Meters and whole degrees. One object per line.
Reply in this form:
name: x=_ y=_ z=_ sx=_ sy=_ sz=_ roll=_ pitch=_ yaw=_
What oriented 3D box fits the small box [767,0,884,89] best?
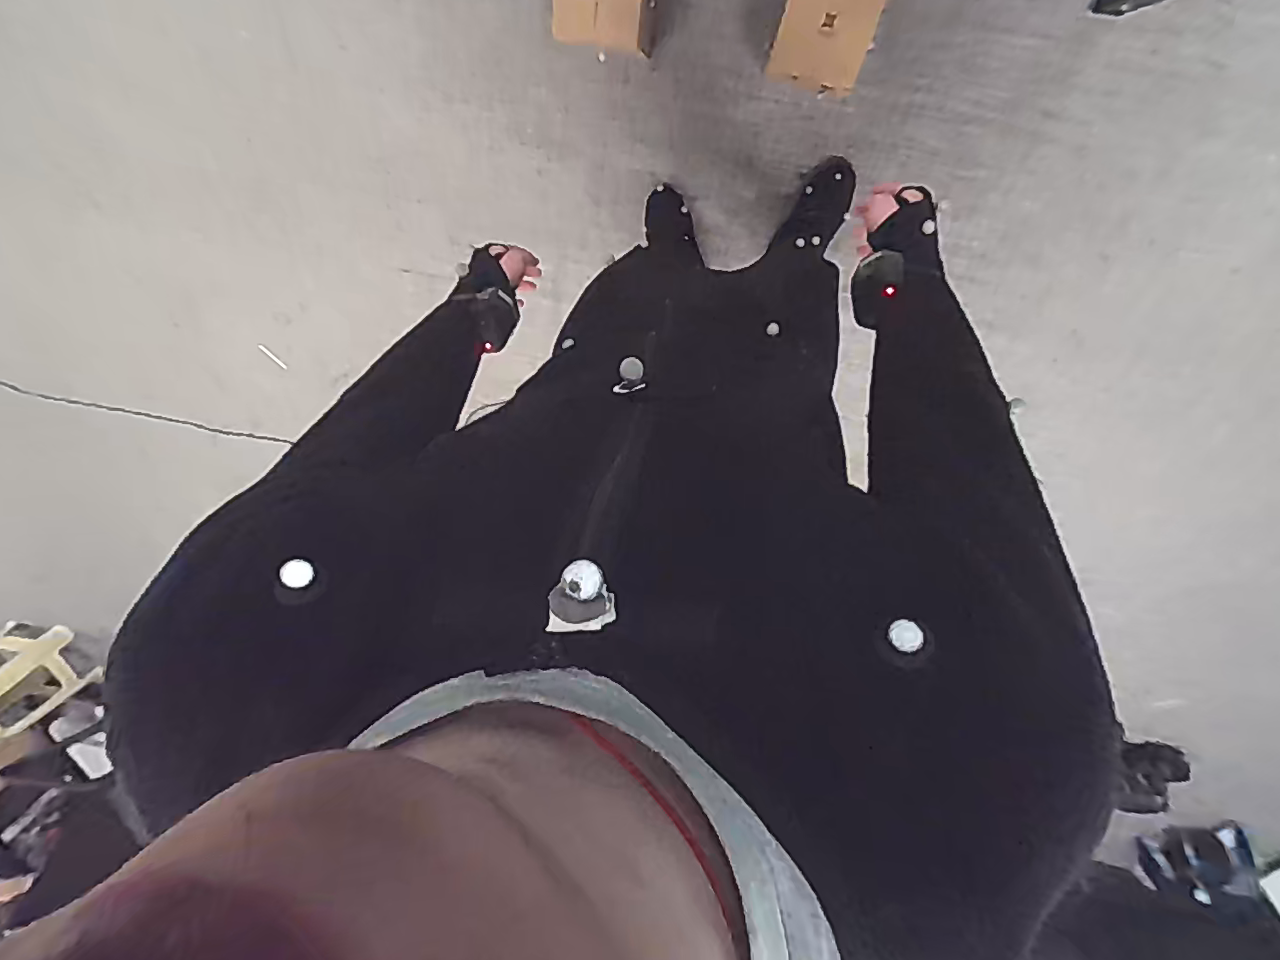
small box: x=0.343 y=-0.857 z=1.012 sx=0.168 sy=0.176 sz=0.179 roll=14 pitch=122 yaw=-1

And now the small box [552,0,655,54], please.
small box: x=-0.063 y=-0.937 z=1.025 sx=0.168 sy=0.176 sz=0.179 roll=10 pitch=124 yaw=4
